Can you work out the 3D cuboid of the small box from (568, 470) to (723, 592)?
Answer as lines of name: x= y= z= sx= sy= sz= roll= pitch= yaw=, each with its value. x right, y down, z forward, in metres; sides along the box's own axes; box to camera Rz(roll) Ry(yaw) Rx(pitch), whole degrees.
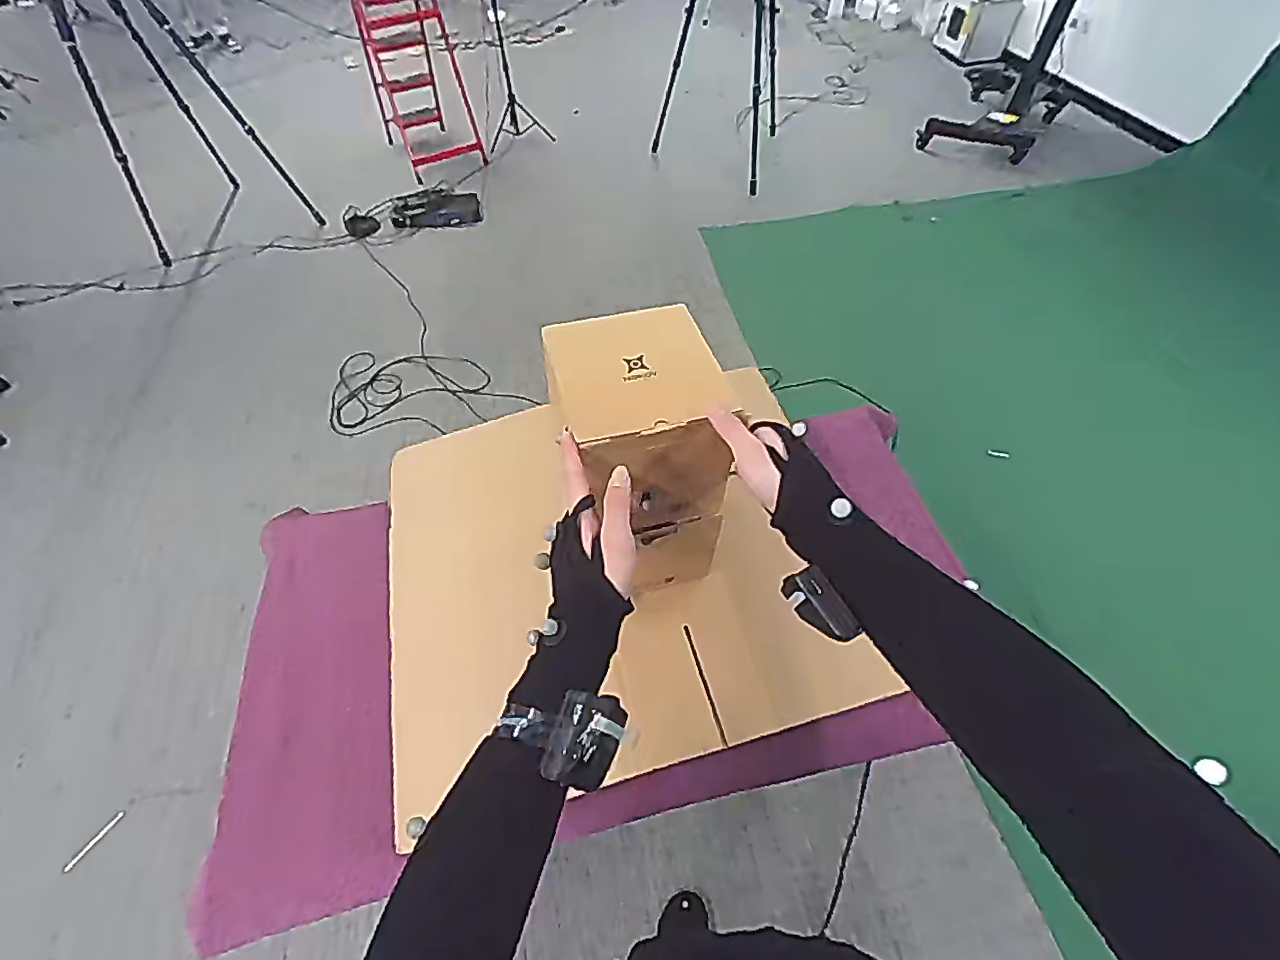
small box: x=-0.001 y=0.035 z=0.732 sx=0.168 sy=0.176 sz=0.179 roll=-12 pitch=54 yaw=-10

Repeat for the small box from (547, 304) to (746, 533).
small box: x=-0.004 y=-0.067 z=0.606 sx=0.168 sy=0.176 sz=0.179 roll=-12 pitch=56 yaw=-11
